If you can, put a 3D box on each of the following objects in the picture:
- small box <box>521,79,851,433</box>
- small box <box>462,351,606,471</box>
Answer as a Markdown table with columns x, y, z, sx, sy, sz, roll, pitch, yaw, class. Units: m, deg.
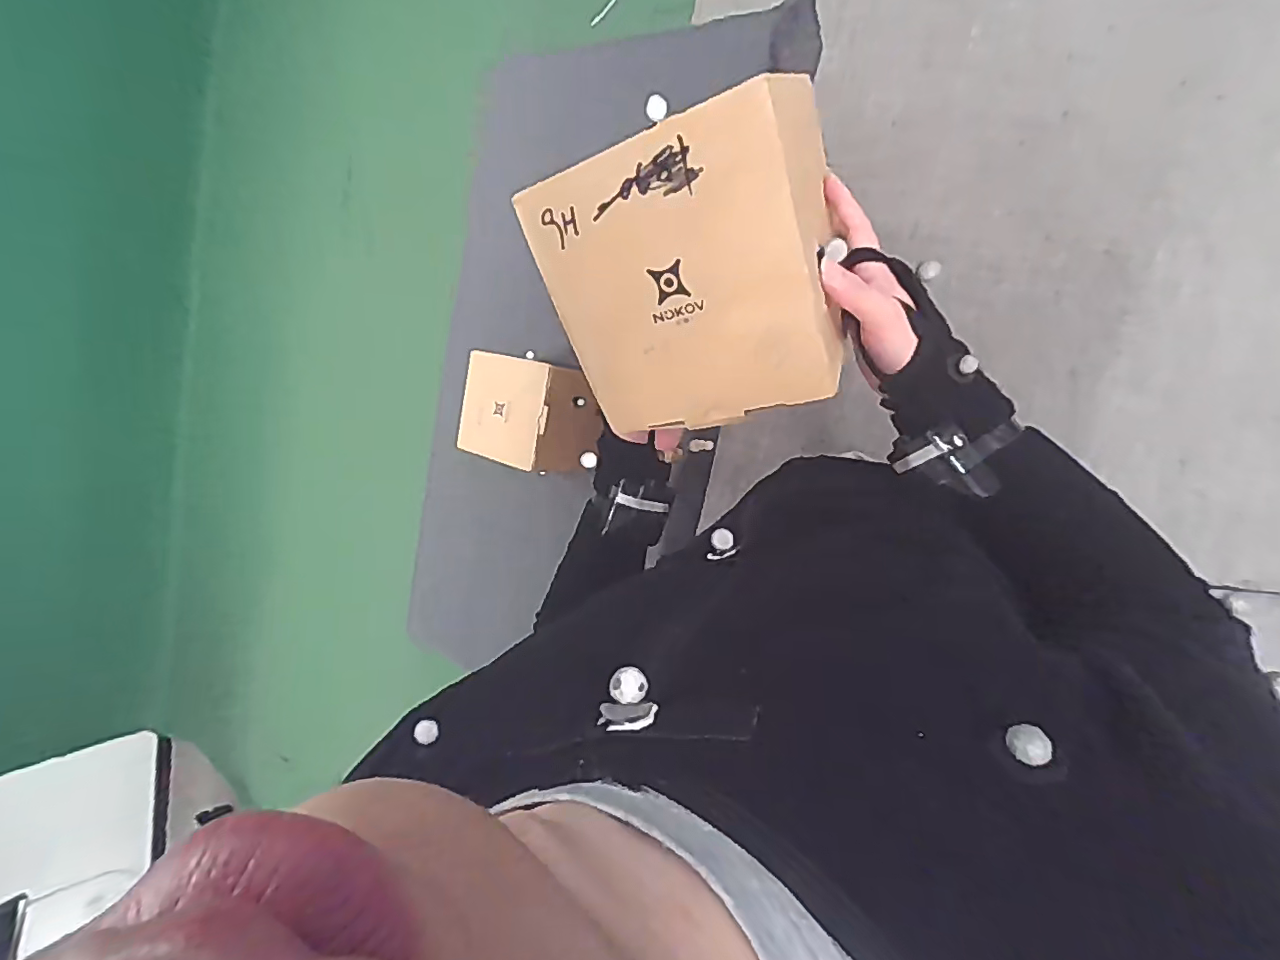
| x | y | z | sx | sy | sz | roll | pitch | yaw | class |
| --- | --- | --- | --- | --- | --- | --- | --- | --- | --- |
| 0.053 | -0.159 | 0.395 | 0.168 | 0.176 | 0.179 | -7 | 122 | 29 | small box |
| -0.174 | -0.117 | 0.932 | 0.179 | 0.176 | 0.168 | 17 | 100 | 30 | small box |
